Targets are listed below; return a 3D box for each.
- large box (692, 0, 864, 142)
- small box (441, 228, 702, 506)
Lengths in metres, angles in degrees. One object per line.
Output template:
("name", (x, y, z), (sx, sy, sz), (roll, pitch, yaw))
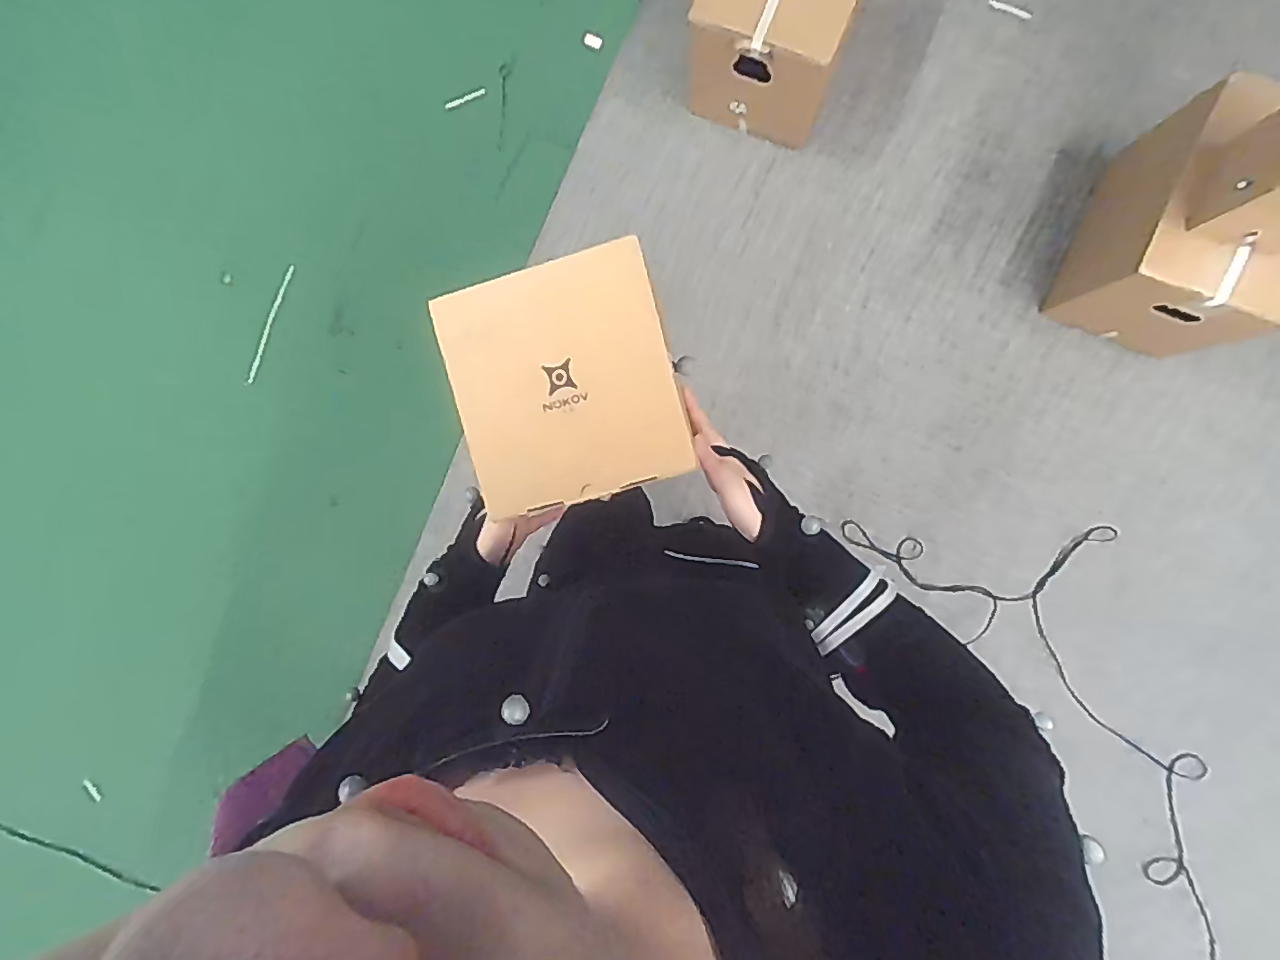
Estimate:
("large box", (0.336, -1.088, 1.232), (0.320, 0.320, 0.408), (23, 95, 5))
("small box", (-0.045, -0.088, 0.483), (0.168, 0.176, 0.179), (-14, 94, 8))
